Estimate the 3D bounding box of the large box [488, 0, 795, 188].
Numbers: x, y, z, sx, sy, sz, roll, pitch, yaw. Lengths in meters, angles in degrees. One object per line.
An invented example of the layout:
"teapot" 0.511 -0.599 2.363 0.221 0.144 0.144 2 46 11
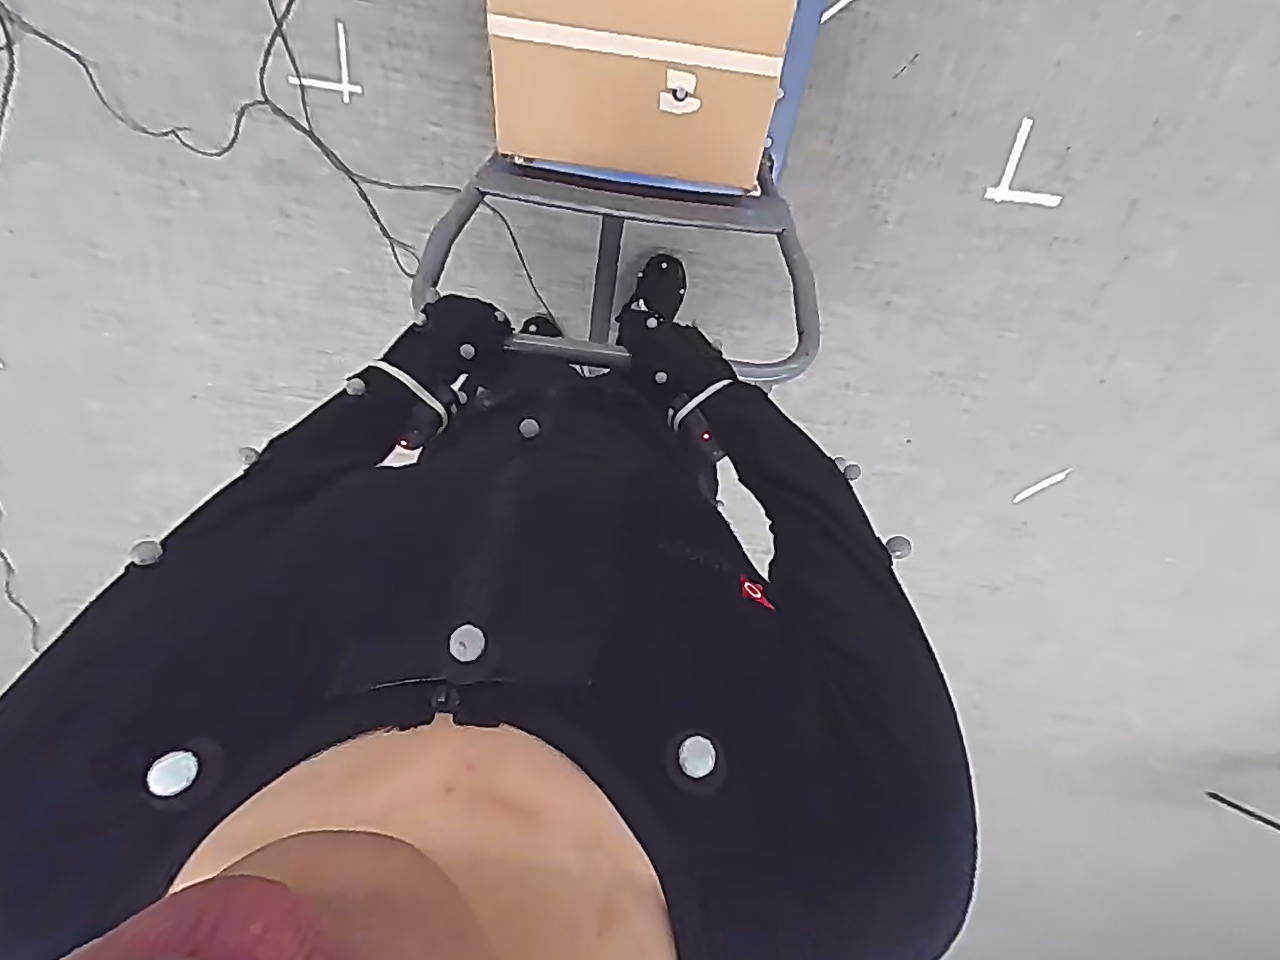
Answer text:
"large box" -0.003 -0.686 0.845 0.408 0.320 0.320 6 134 -3
